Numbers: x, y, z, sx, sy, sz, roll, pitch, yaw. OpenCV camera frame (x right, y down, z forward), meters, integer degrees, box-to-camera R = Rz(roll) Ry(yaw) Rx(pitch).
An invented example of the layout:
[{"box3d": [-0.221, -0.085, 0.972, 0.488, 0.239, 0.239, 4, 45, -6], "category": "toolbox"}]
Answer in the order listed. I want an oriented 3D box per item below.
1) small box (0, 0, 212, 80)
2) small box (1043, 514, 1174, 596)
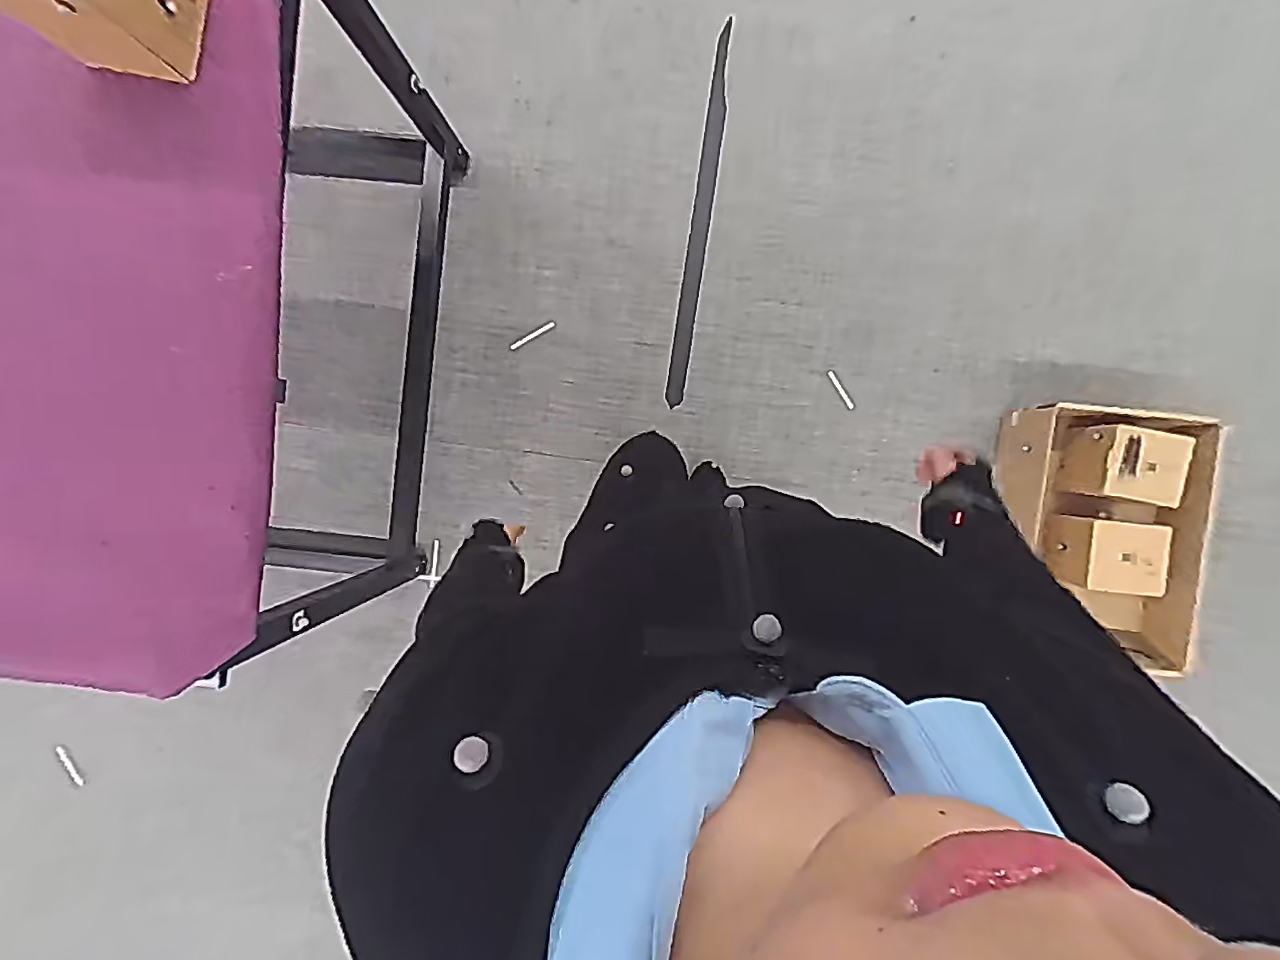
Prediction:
[{"box3d": [-0.712, -0.662, 0.699, 0.179, 0.176, 0.168, 12, 93, 3], "category": "small box"}, {"box3d": [1.140, 0.178, 1.330, 0.179, 0.176, 0.168, 6, 92, 3], "category": "small box"}]
